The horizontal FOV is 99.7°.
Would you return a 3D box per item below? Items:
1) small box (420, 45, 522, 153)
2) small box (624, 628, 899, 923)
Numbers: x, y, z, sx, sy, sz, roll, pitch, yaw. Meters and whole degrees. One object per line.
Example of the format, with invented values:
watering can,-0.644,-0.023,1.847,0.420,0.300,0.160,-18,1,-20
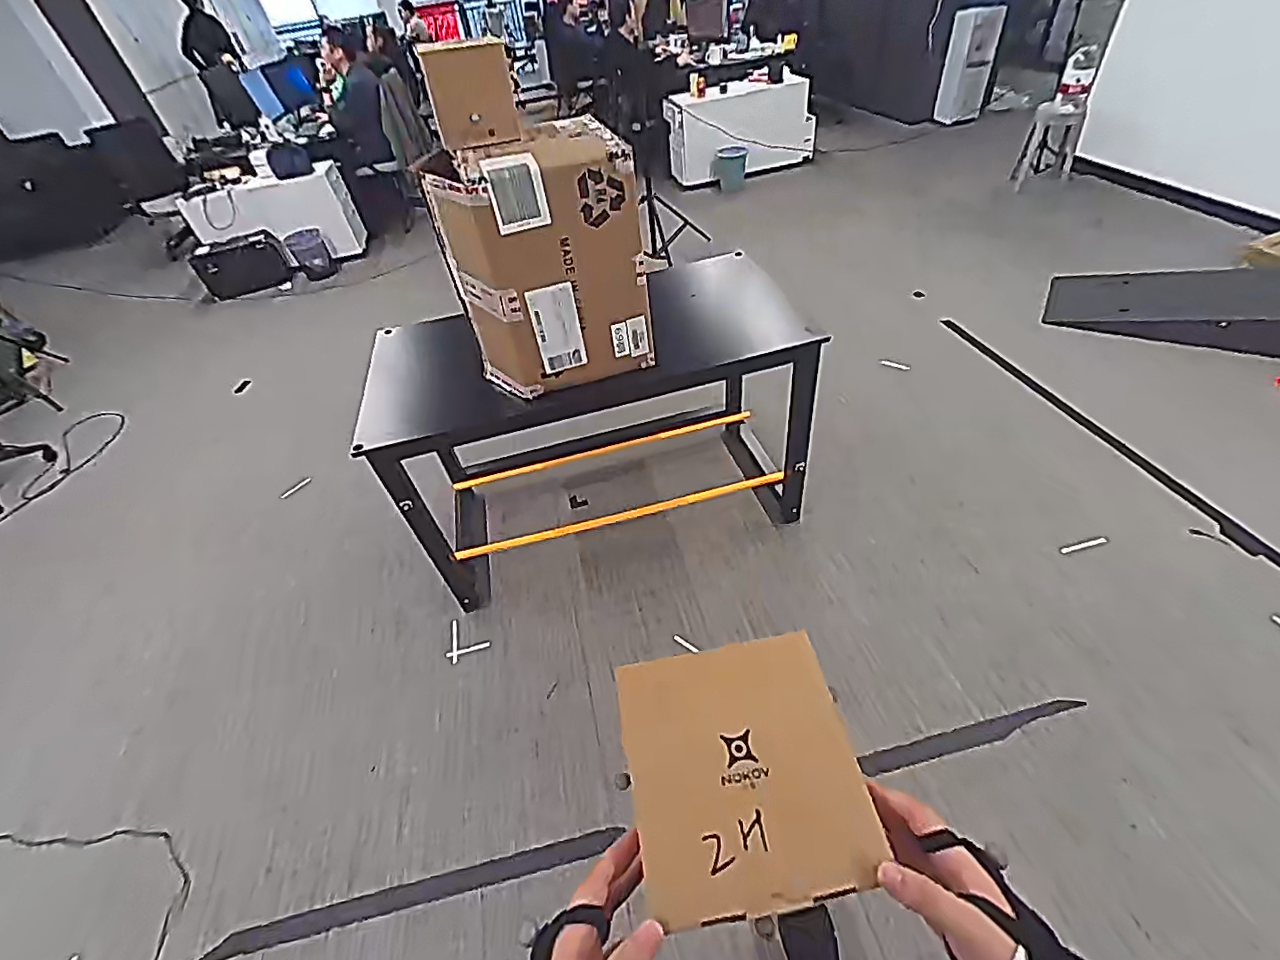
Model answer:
small box,-0.360,-0.816,1.159,0.168,0.176,0.179,-16,43,-11
small box,0.083,0.255,0.465,0.168,0.176,0.179,-10,51,-2
